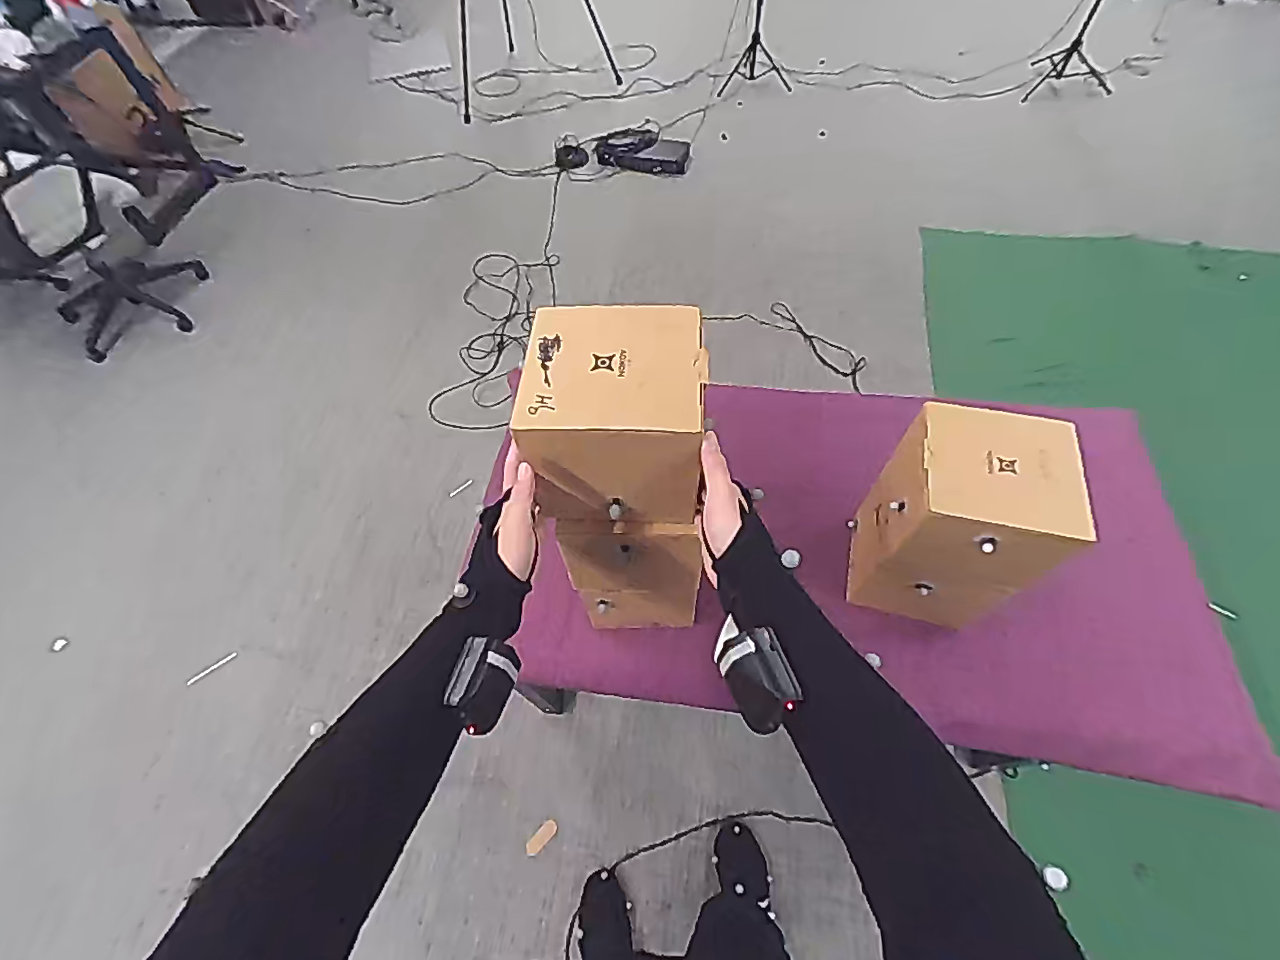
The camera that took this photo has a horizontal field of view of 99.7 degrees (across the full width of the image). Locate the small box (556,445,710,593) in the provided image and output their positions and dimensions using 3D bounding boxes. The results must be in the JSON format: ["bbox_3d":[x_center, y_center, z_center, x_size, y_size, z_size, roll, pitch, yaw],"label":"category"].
[{"bbox_3d":[-0.004,0.043,0.718,0.179,0.176,0.168,0,57,3],"label":"small box"}]

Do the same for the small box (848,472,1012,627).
[{"bbox_3d":[0.438,0.113,0.843,0.179,0.176,0.168,12,60,10],"label":"small box"}]

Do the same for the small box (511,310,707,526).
[{"bbox_3d":[-0.023,-0.060,0.586,0.179,0.176,0.168,2,56,3],"label":"small box"}]

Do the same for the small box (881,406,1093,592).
[{"bbox_3d":[0.429,0.030,0.703,0.179,0.176,0.168,11,60,10],"label":"small box"}]
